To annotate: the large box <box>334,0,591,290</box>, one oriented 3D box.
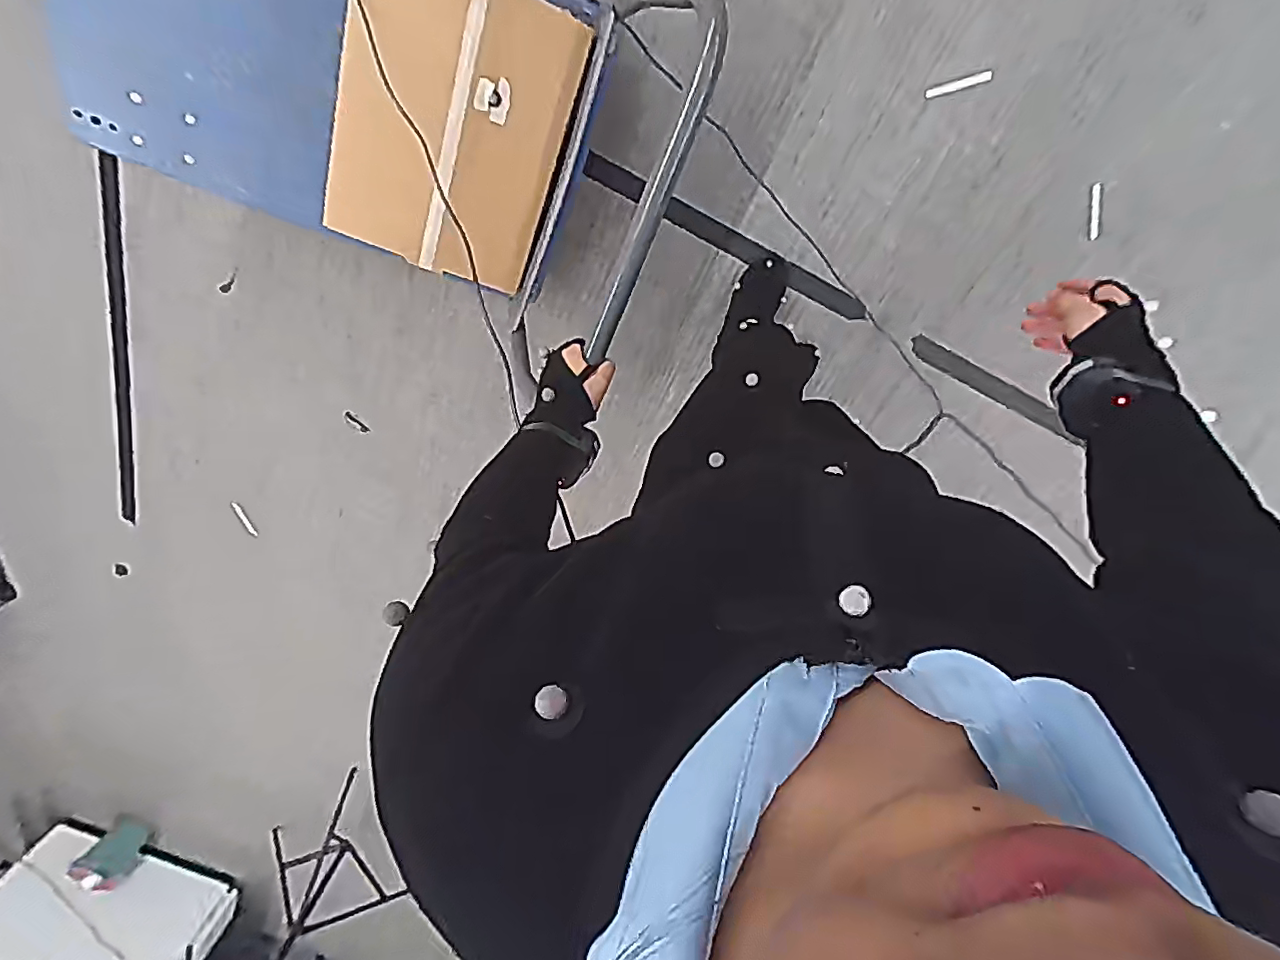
[{"bbox_3d":[-0.302,-0.610,0.945,0.320,0.320,0.408,14,120,-20],"label":"large box"}]
